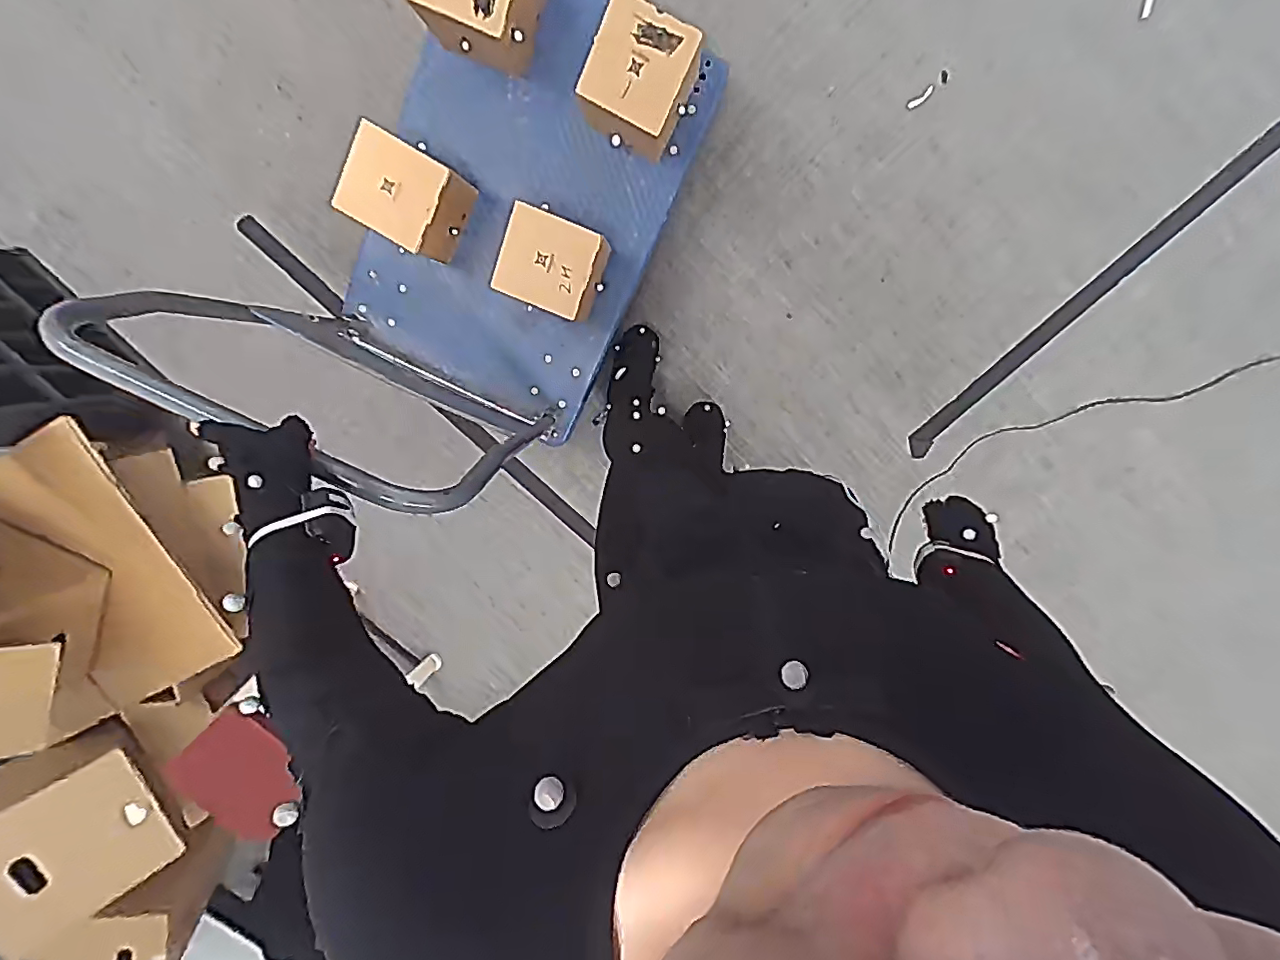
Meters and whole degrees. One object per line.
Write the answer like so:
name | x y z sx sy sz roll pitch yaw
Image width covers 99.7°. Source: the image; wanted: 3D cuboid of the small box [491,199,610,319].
small box | -0.172 -0.432 1.089 0.179 0.176 0.168 21 105 -4

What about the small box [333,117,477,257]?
small box | -0.453 -0.560 1.065 0.179 0.176 0.168 28 104 -7

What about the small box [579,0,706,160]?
small box | 0.003 -0.737 0.999 0.168 0.176 0.179 26 106 -5
